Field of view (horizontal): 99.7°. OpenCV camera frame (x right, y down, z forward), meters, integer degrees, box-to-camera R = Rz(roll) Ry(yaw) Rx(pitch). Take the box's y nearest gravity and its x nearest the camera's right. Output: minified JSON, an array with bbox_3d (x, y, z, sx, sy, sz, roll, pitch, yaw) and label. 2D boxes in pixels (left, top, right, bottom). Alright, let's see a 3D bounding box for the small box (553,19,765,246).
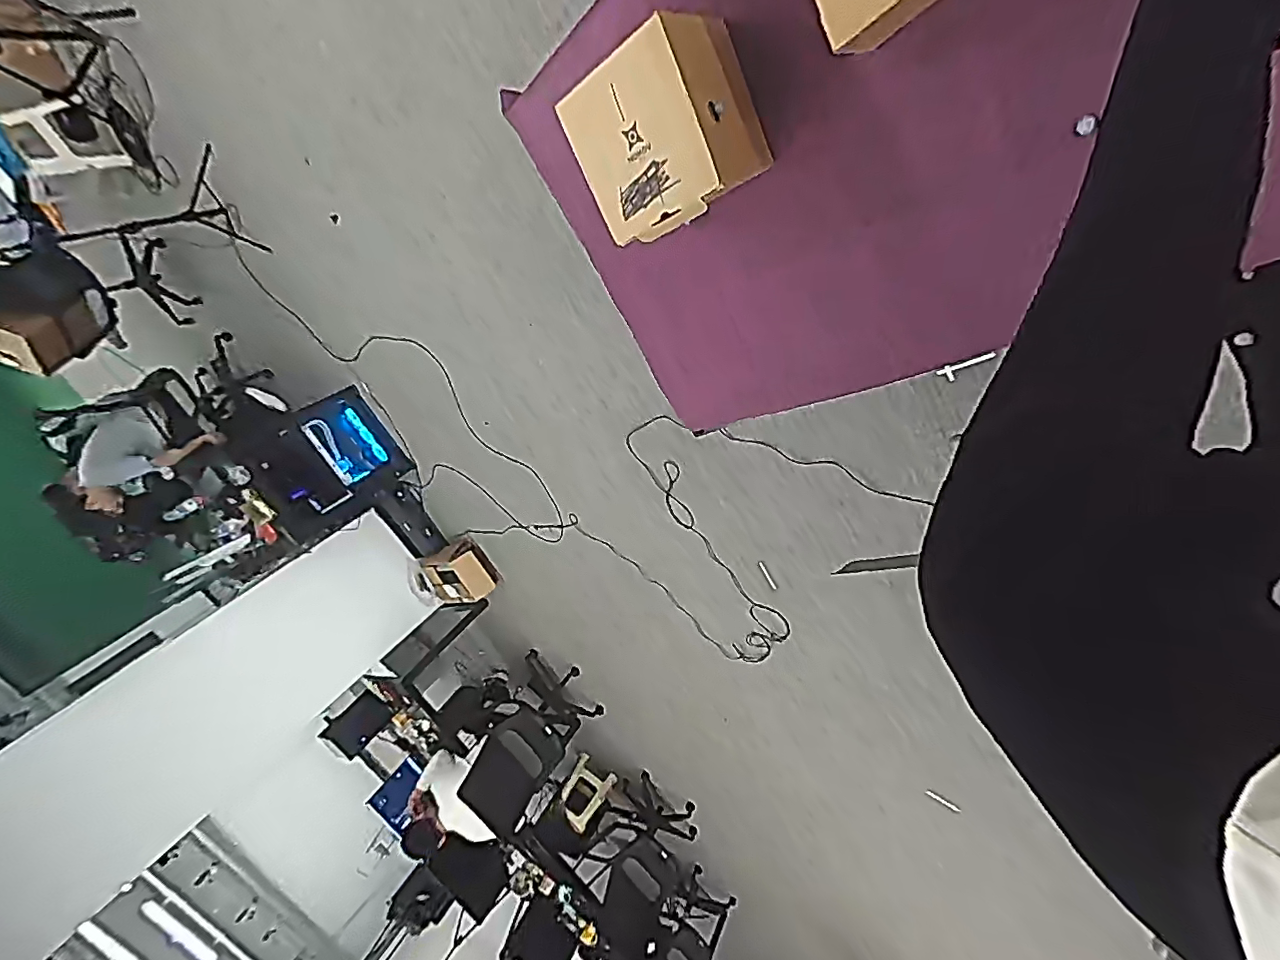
[{"bbox_3d":[0.033,-0.427,0.675,0.168,0.176,0.179,-10,116,41],"label":"small box"}]
